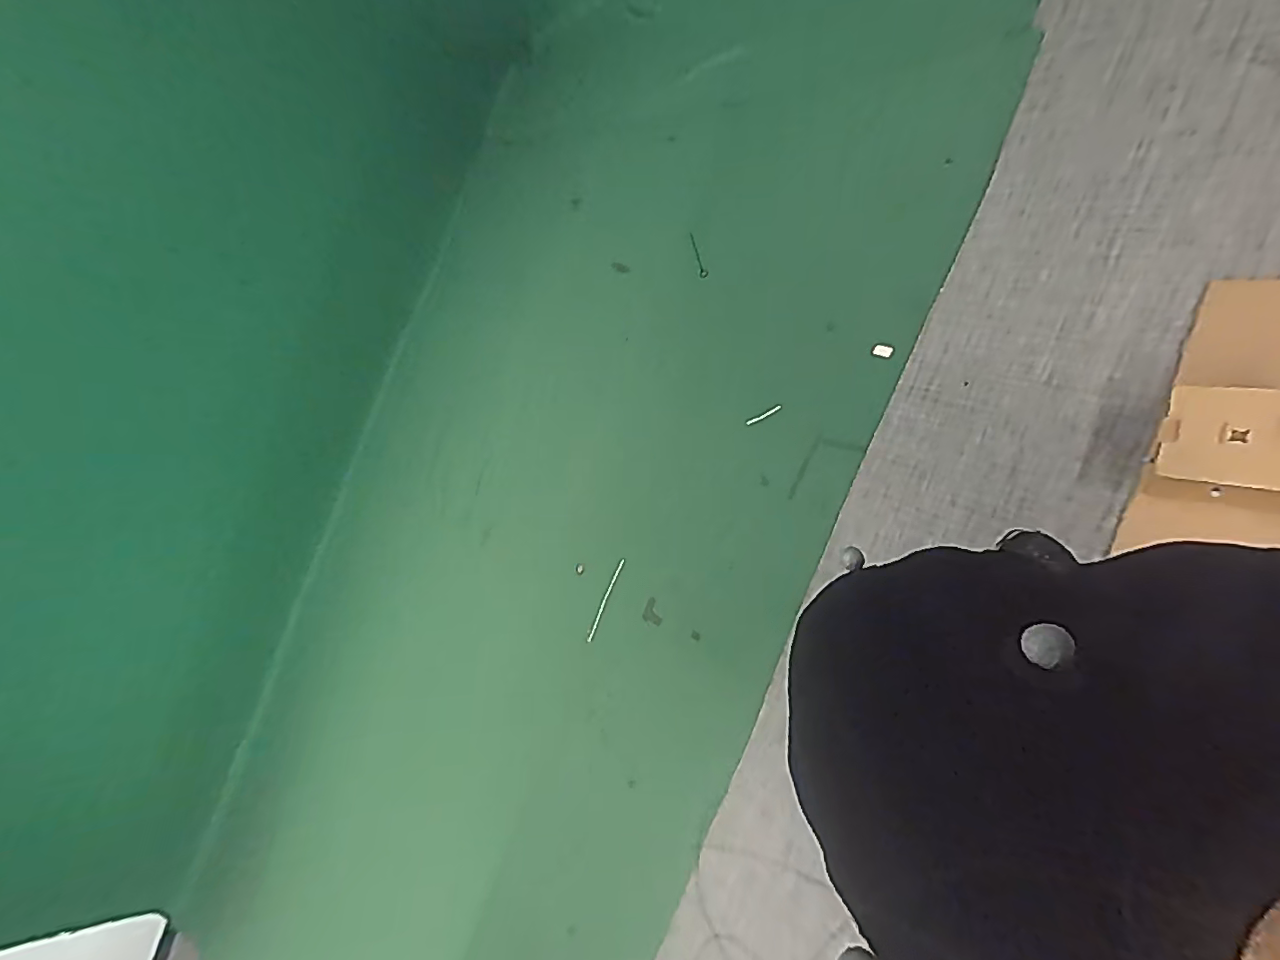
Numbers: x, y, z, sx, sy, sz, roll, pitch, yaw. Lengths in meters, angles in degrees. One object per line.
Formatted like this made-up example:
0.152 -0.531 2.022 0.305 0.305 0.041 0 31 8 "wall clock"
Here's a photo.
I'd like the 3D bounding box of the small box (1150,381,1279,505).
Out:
1.017 -0.062 0.935 0.179 0.176 0.168 13 86 41 "small box"
